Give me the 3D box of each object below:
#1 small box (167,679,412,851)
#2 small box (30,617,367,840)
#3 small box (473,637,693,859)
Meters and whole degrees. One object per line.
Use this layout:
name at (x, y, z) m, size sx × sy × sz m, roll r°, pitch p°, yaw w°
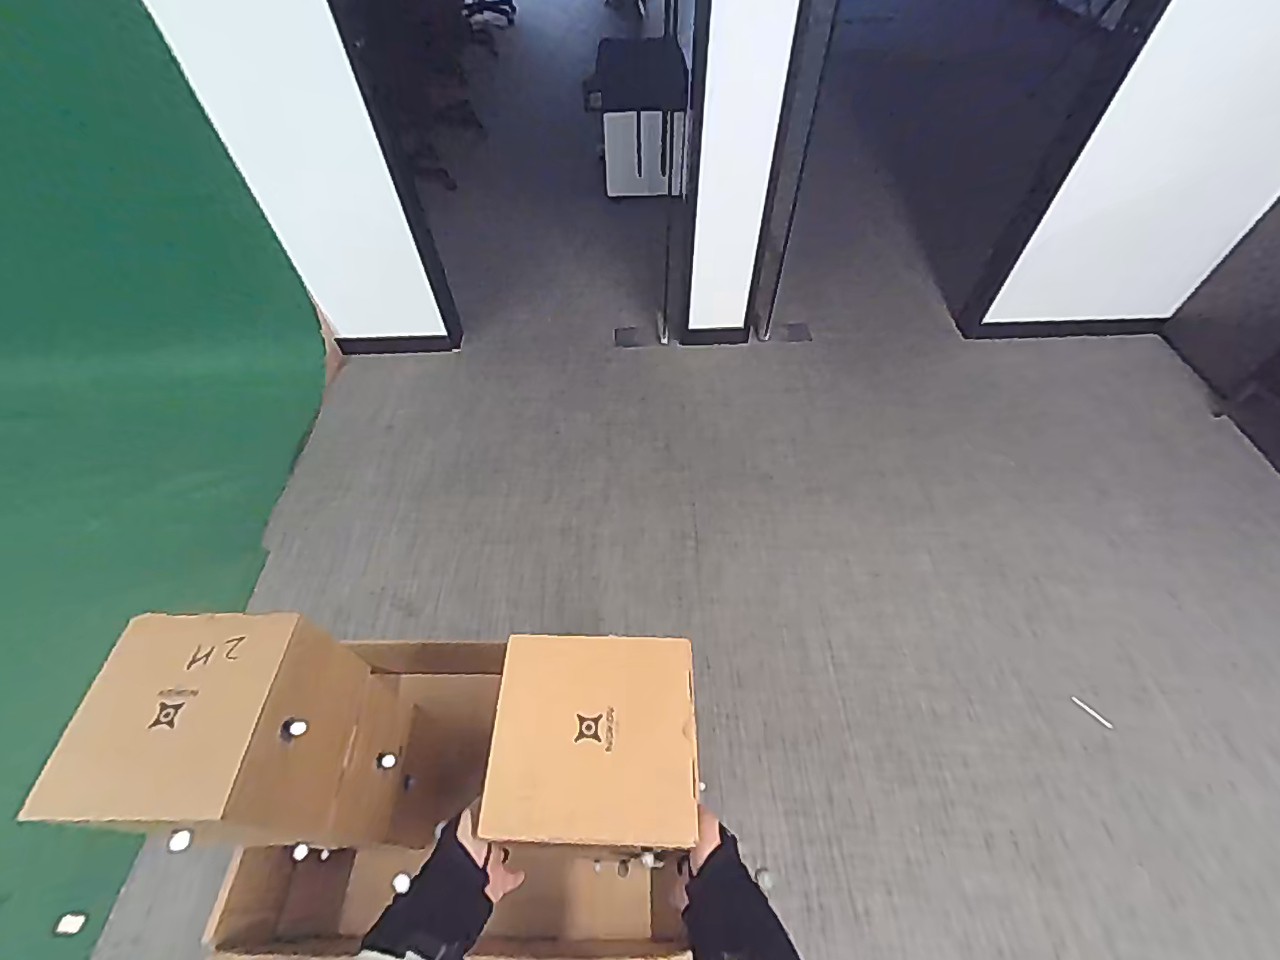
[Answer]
small box at (-0.409, 0.357, 0.675) m, size 0.179 × 0.176 × 0.168 m, roll -1°, pitch 52°, yaw -1°
small box at (-0.408, 0.254, 0.546) m, size 0.168 × 0.176 × 0.179 m, roll 0°, pitch 52°, yaw 1°
small box at (-0.043, 0.267, 0.532) m, size 0.179 × 0.176 × 0.168 m, roll 2°, pitch 52°, yaw 0°
